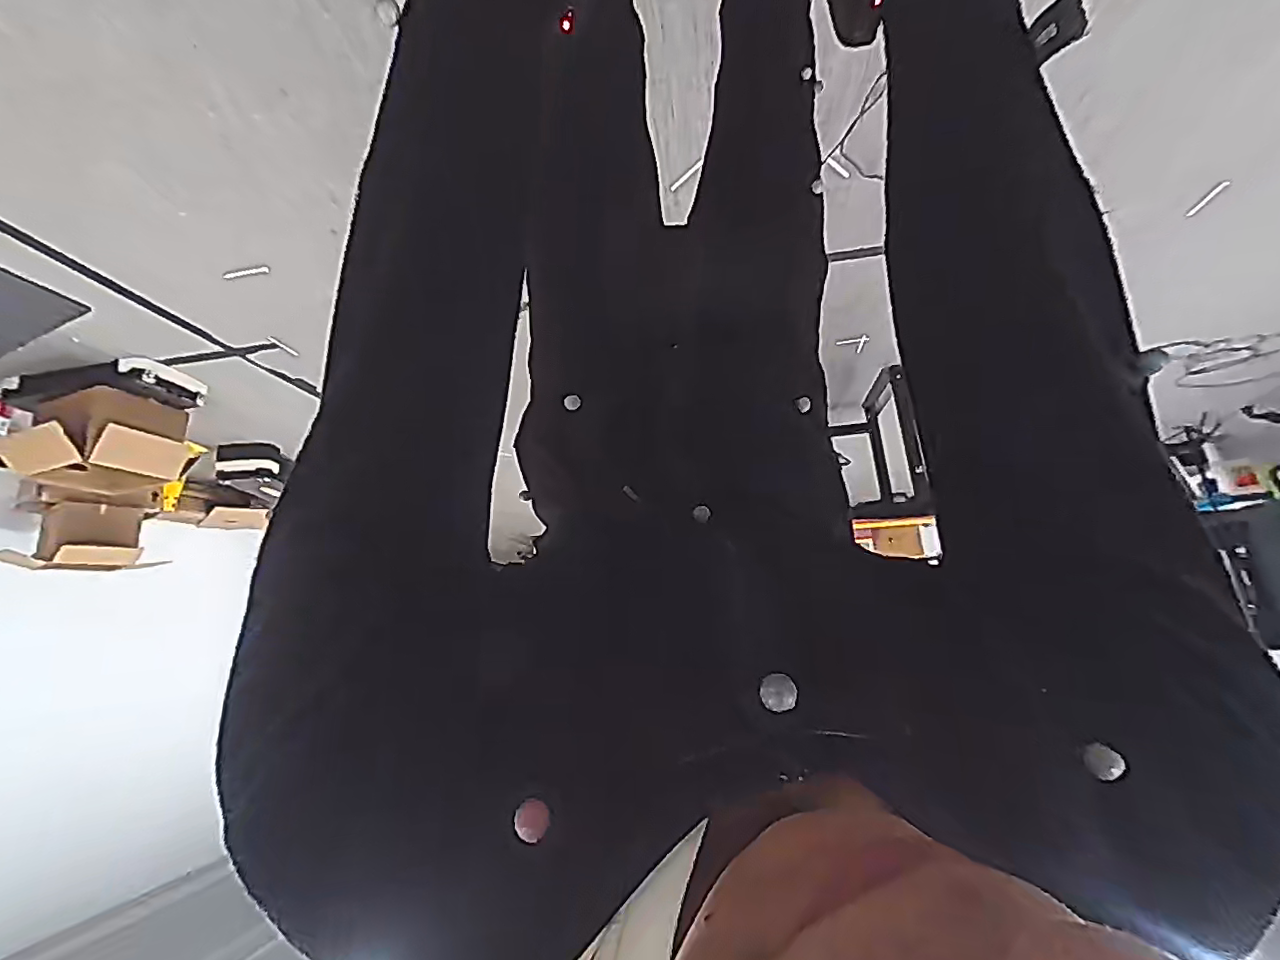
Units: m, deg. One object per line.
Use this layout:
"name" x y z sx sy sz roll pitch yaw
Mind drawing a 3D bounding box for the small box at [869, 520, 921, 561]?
"small box" 1.190 0.285 2.536 0.179 0.176 0.168 -4 165 9
